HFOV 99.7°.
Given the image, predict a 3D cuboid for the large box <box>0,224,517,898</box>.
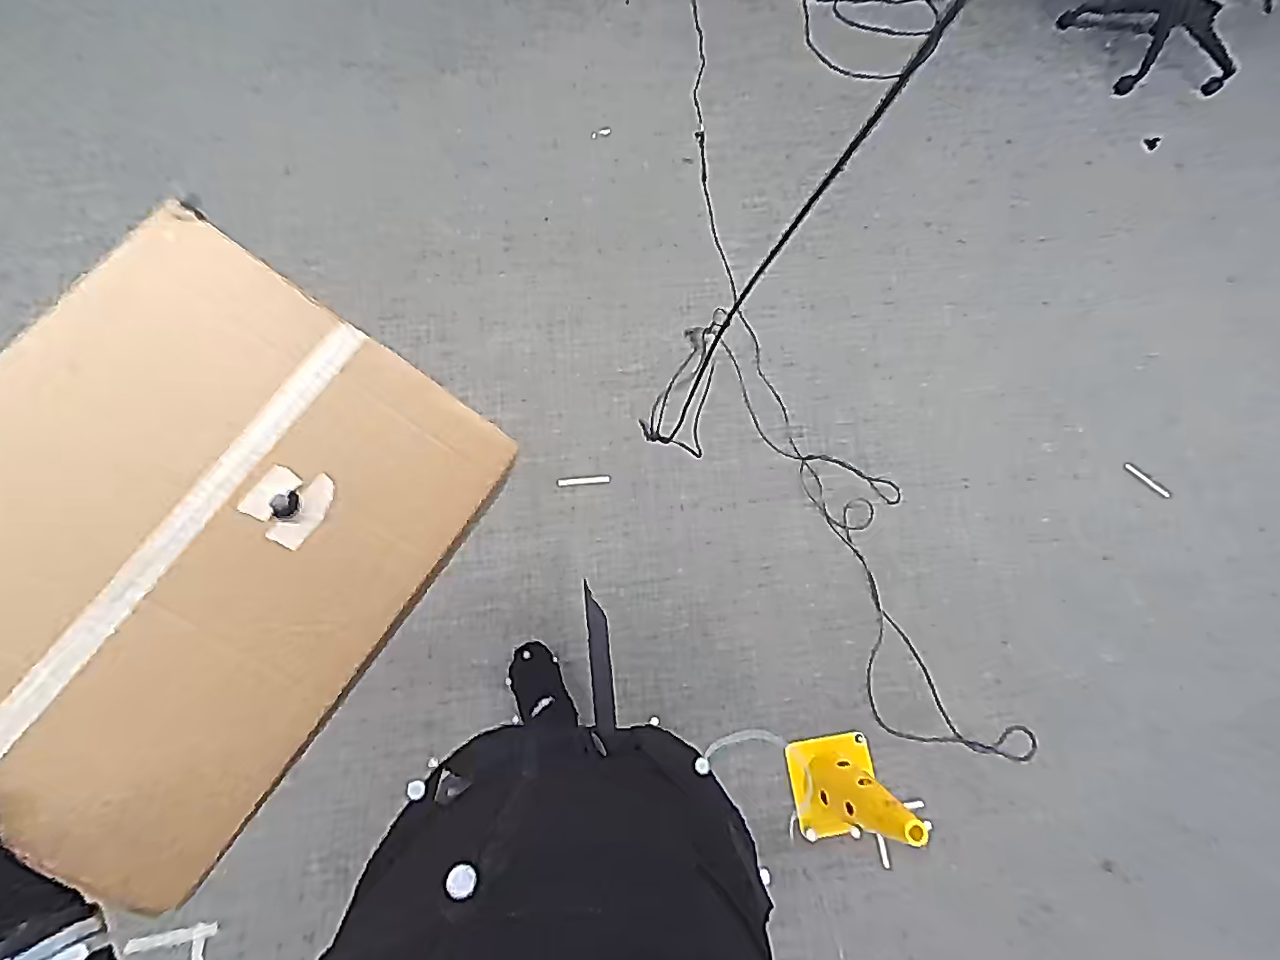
[{"bbox_3d":[-0.370,0.062,0.540,0.320,0.320,0.408,37,75,-10],"label":"large box"}]
